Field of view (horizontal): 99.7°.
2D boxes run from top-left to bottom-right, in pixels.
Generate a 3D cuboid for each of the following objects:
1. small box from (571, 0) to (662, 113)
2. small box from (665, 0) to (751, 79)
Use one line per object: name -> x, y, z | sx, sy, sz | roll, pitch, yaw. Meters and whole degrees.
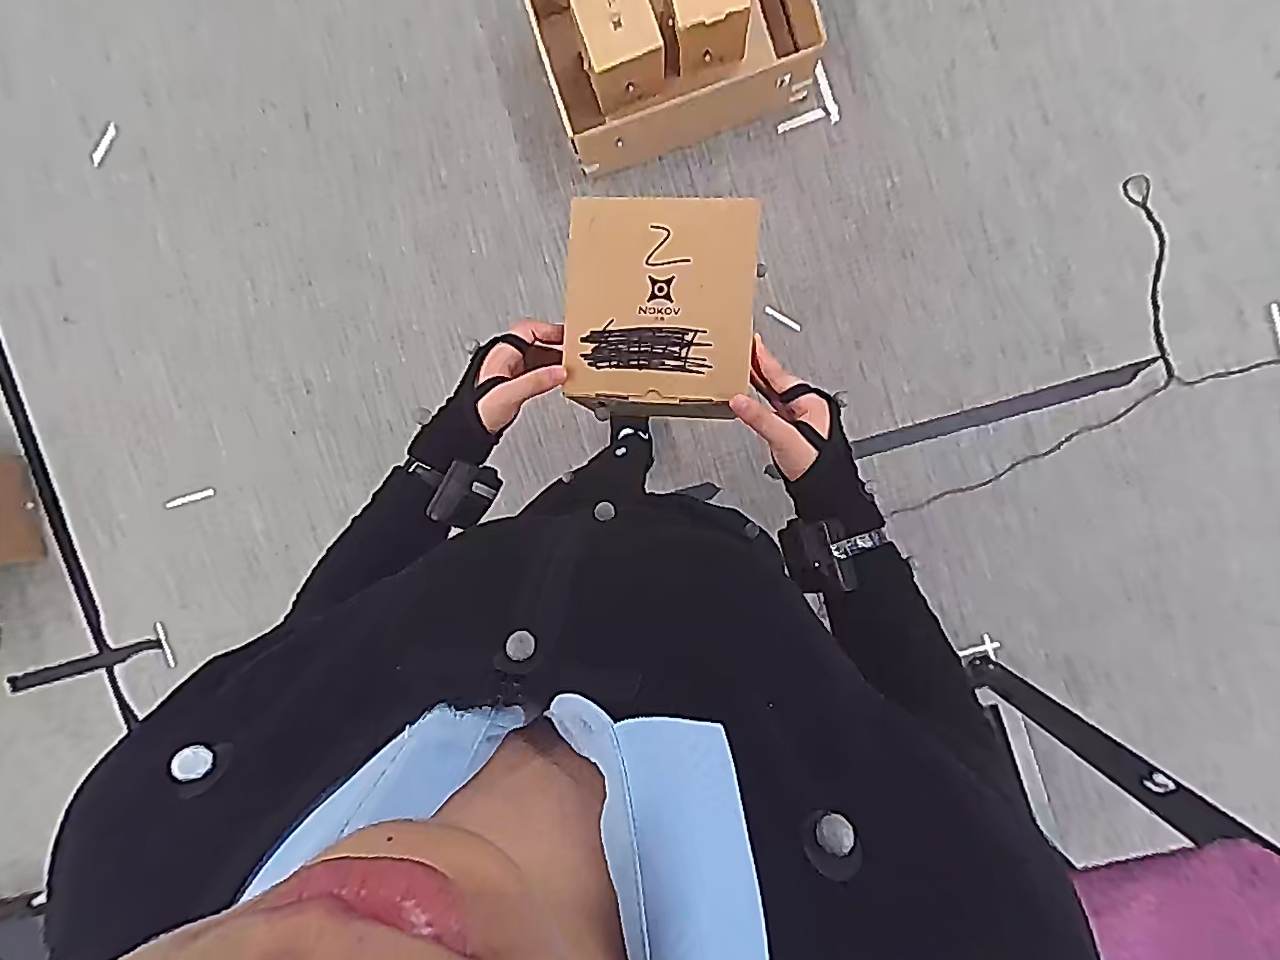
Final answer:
small box -> -0.048, -1.016, 1.285 | 0.168, 0.176, 0.179 | -20, 92, 3
small box -> 0.152, -1.101, 1.270 | 0.168, 0.176, 0.179 | -13, 93, 5
